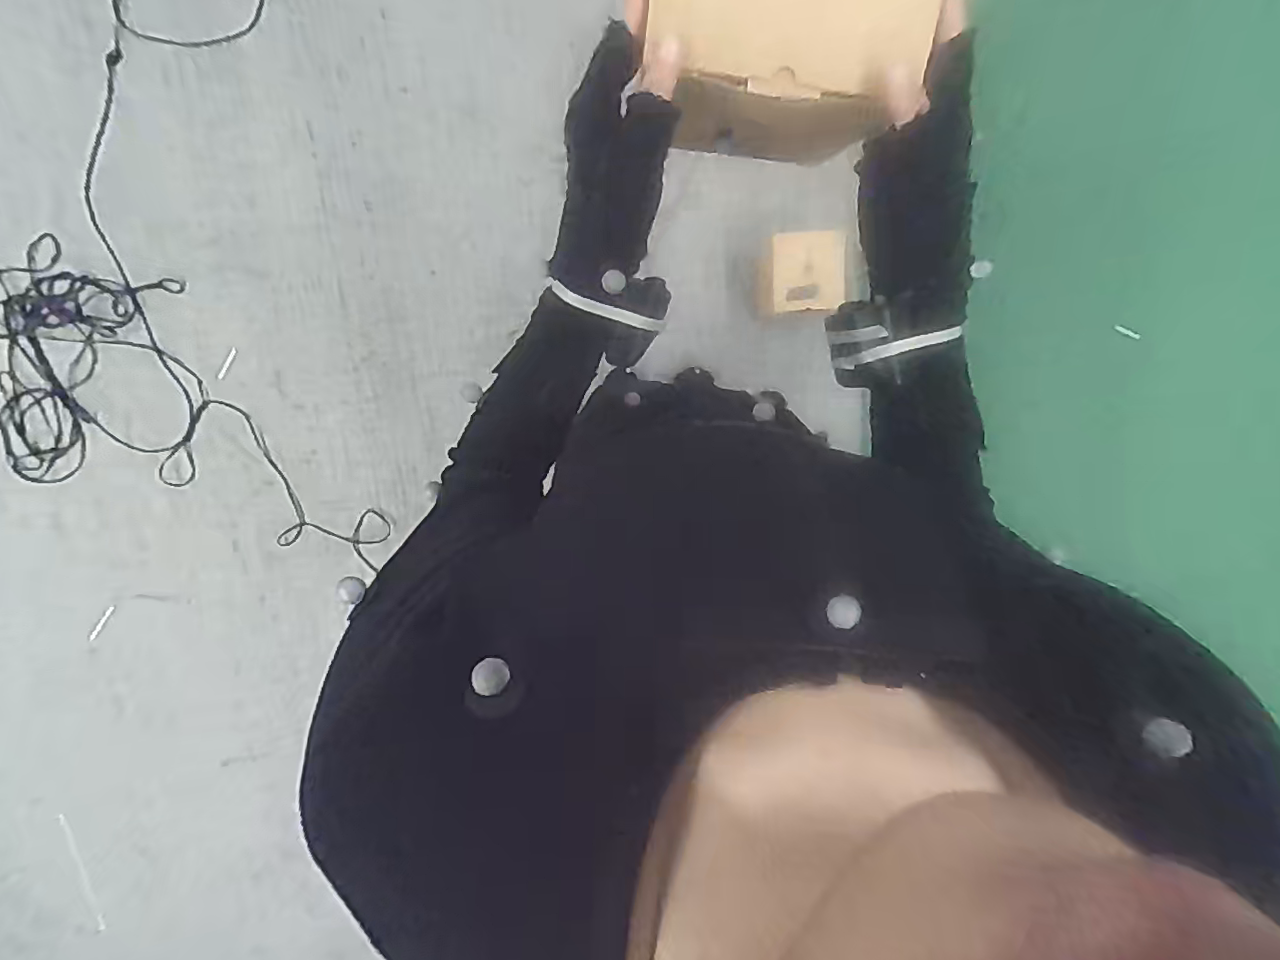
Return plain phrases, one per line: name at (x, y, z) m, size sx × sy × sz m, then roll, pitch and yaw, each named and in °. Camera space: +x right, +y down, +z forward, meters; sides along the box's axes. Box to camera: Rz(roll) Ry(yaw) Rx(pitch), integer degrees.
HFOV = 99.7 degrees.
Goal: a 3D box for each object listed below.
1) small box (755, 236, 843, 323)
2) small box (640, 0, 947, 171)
small box at (0.378, -0.477, 1.309) m, size 0.168 × 0.176 × 0.179 m, roll -3°, pitch 100°, yaw 0°
small box at (0.091, -0.332, 0.364) m, size 0.168 × 0.176 × 0.179 m, roll 4°, pitch 109°, yaw -4°
